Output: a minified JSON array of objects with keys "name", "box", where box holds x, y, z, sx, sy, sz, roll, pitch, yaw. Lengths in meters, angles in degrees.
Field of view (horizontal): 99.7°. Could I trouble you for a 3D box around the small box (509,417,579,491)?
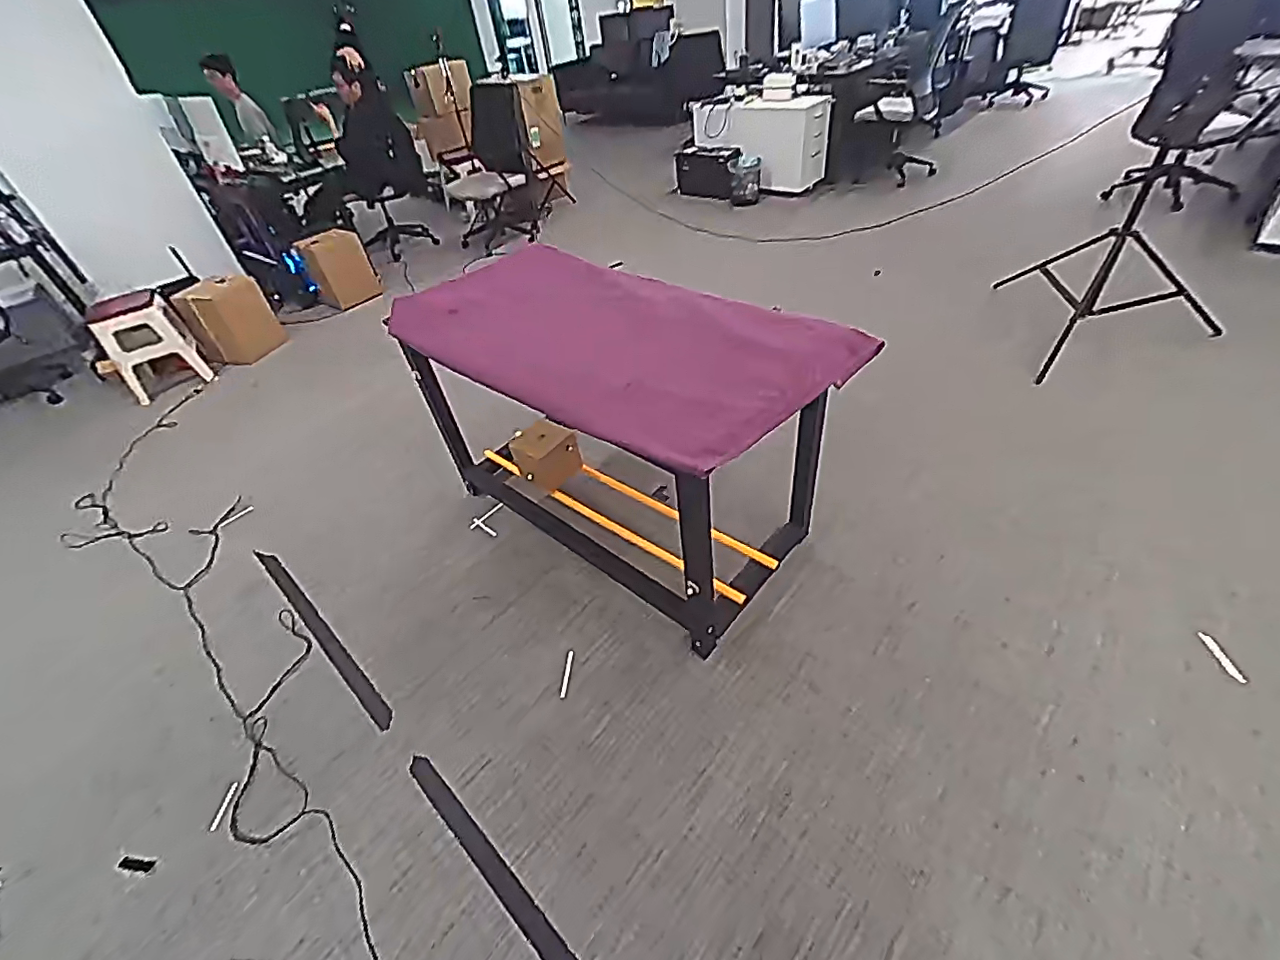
[{"name":"small box","box":[-0.335,-0.093,1.943,0.168,0.176,0.179,25,54,31]}]
